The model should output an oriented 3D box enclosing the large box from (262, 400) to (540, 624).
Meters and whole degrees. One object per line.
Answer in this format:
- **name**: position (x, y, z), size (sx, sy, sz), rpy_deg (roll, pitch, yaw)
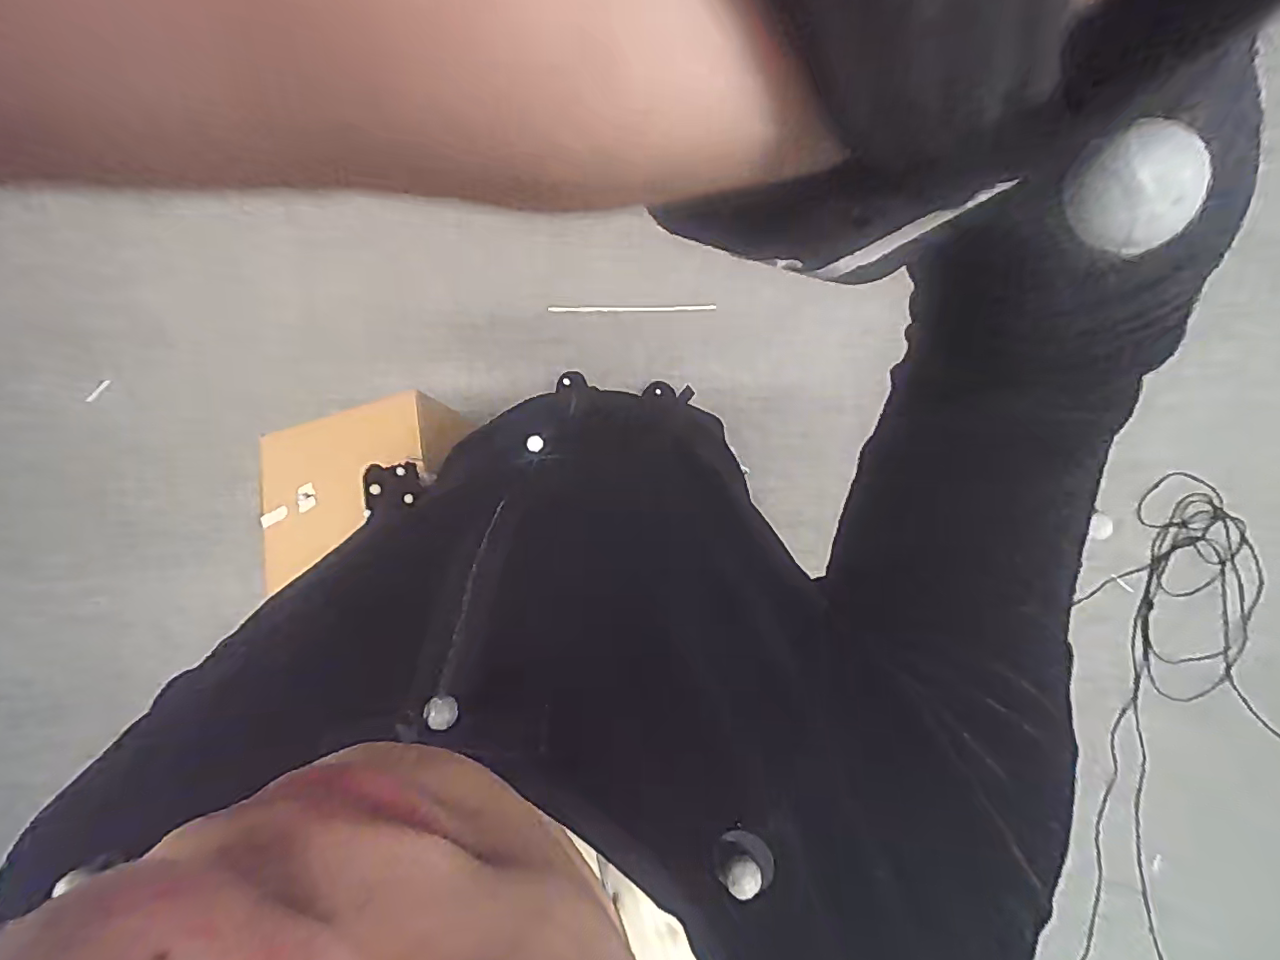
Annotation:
- **large box**: position (-0.439, 0.083, 1.064), size (0.320, 0.408, 0.320), rpy_deg (-15, 77, 9)
